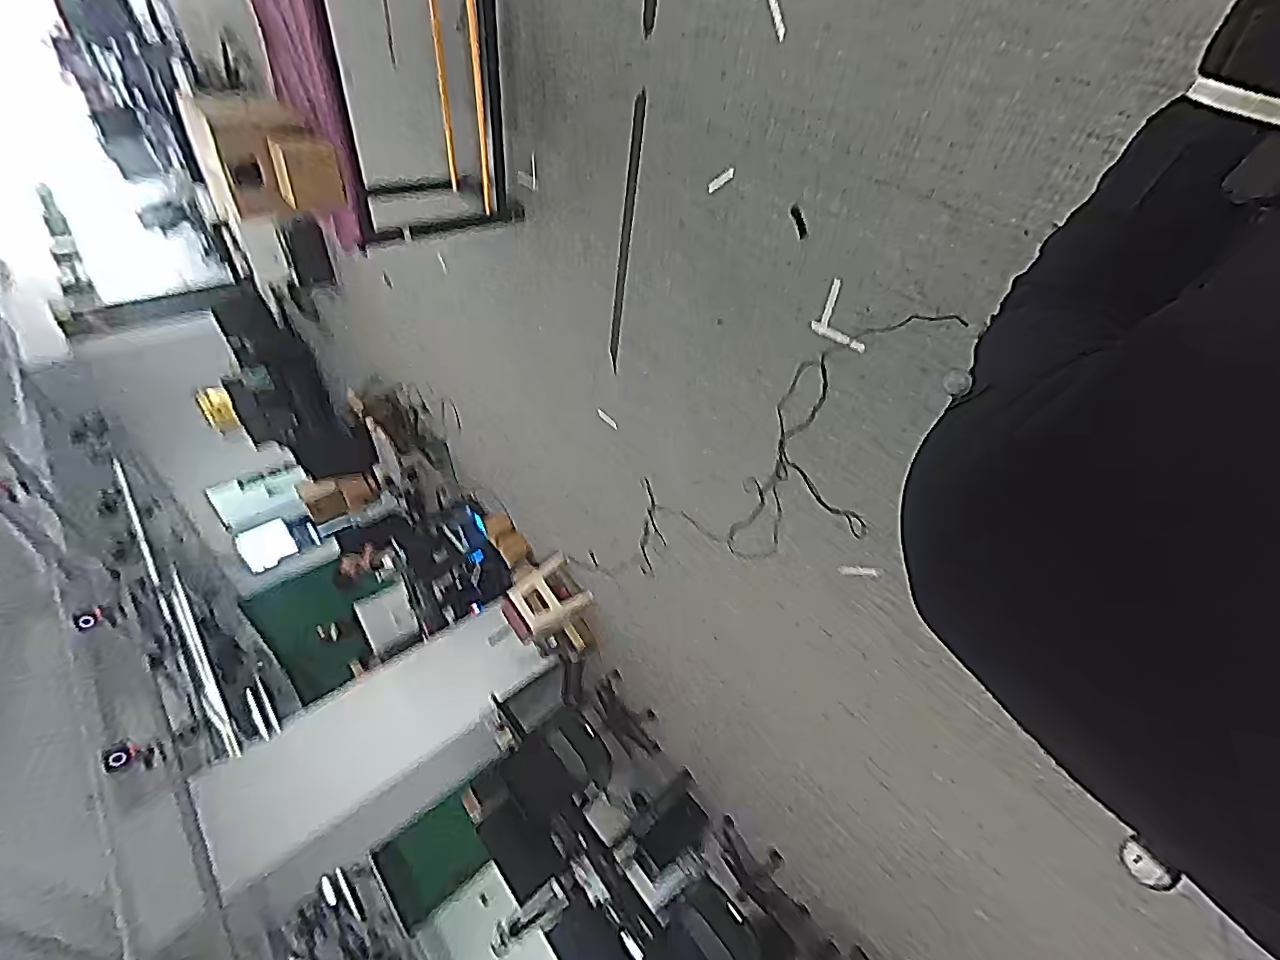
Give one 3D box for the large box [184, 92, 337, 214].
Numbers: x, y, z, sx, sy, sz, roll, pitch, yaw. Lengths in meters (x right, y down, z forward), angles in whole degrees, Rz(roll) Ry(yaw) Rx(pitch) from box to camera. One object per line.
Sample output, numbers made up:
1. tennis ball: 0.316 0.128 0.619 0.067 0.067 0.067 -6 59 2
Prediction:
1. large box: -1.411 -1.232 2.027 0.408 0.320 0.320 39 140 28
